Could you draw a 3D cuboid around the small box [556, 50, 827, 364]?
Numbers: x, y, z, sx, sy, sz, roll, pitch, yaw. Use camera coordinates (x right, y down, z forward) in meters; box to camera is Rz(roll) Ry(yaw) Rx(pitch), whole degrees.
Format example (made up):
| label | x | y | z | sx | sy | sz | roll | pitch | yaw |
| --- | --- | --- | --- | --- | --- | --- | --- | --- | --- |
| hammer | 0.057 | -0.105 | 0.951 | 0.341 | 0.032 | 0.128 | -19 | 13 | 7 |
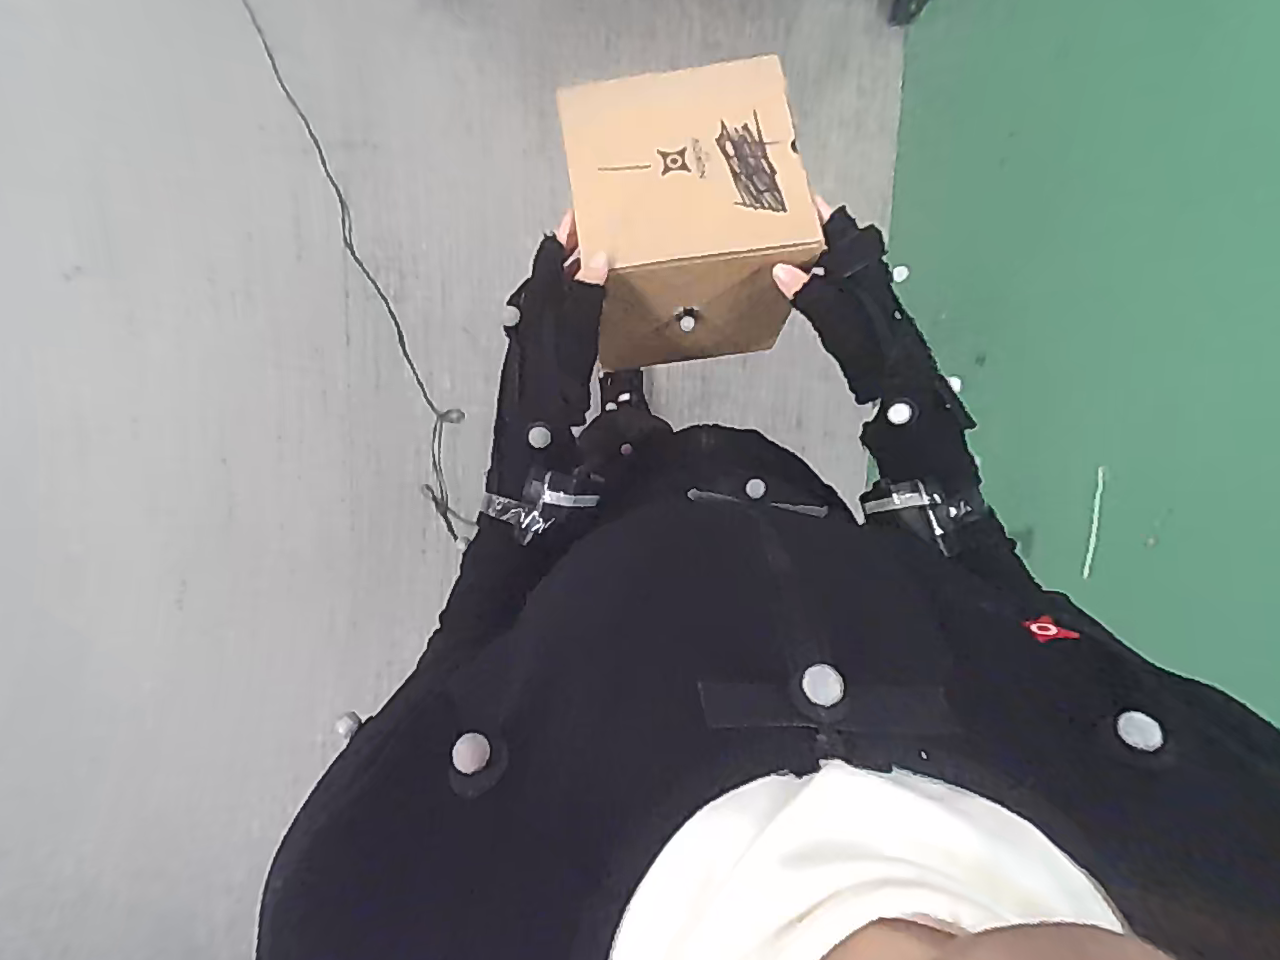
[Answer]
| label | x | y | z | sx | sy | sz | roll | pitch | yaw |
| --- | --- | --- | --- | --- | --- | --- | --- | --- | --- |
| small box | 0.033 | -0.219 | 0.471 | 0.179 | 0.176 | 0.168 | -11 | 78 | -3 |
